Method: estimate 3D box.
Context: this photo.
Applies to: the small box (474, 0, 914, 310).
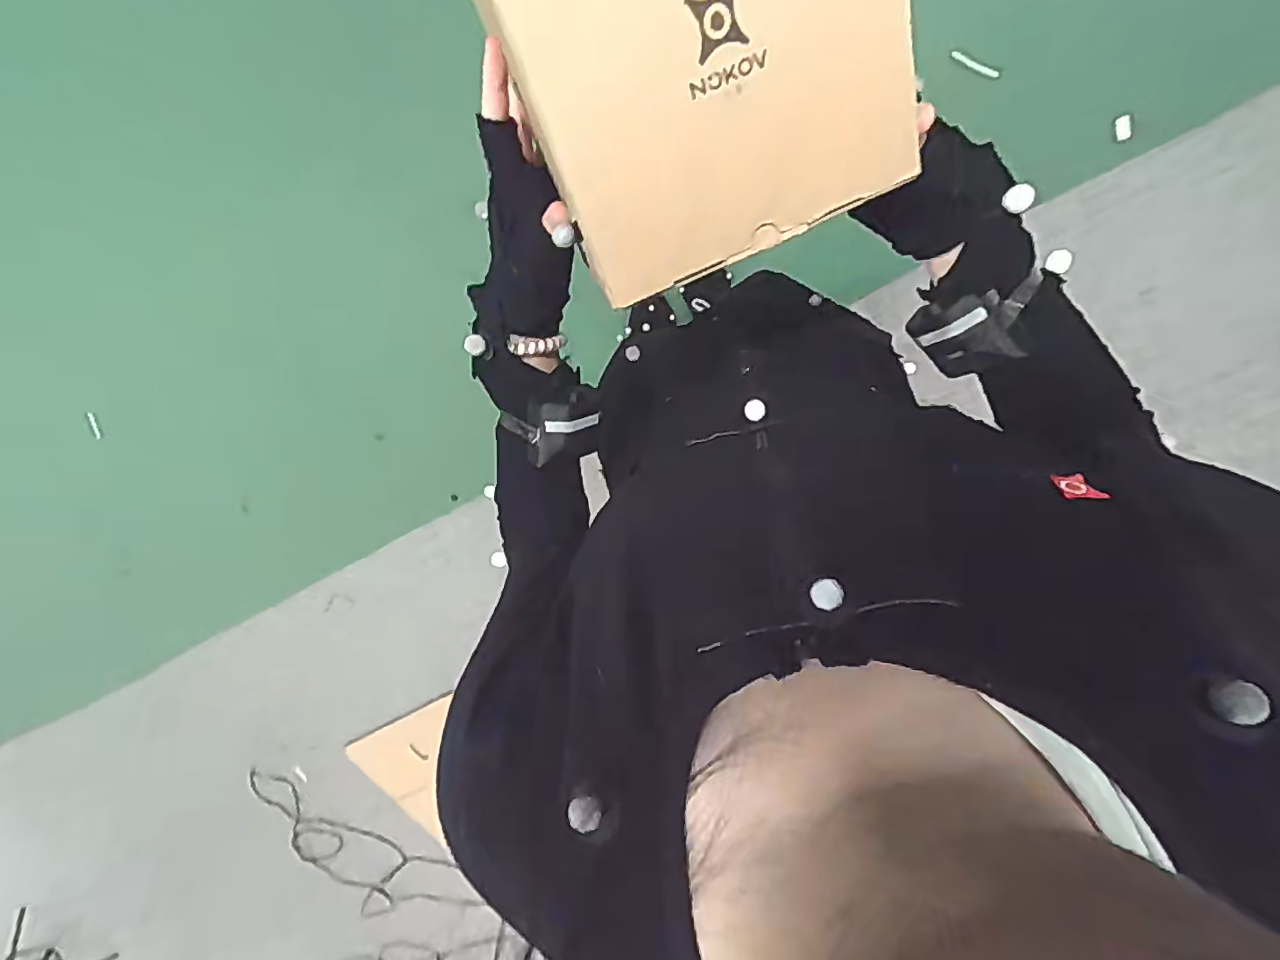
[{"bbox_3d":[0.017,-0.223,0.295,0.168,0.176,0.179,-24,123,2],"label":"small box"}]
